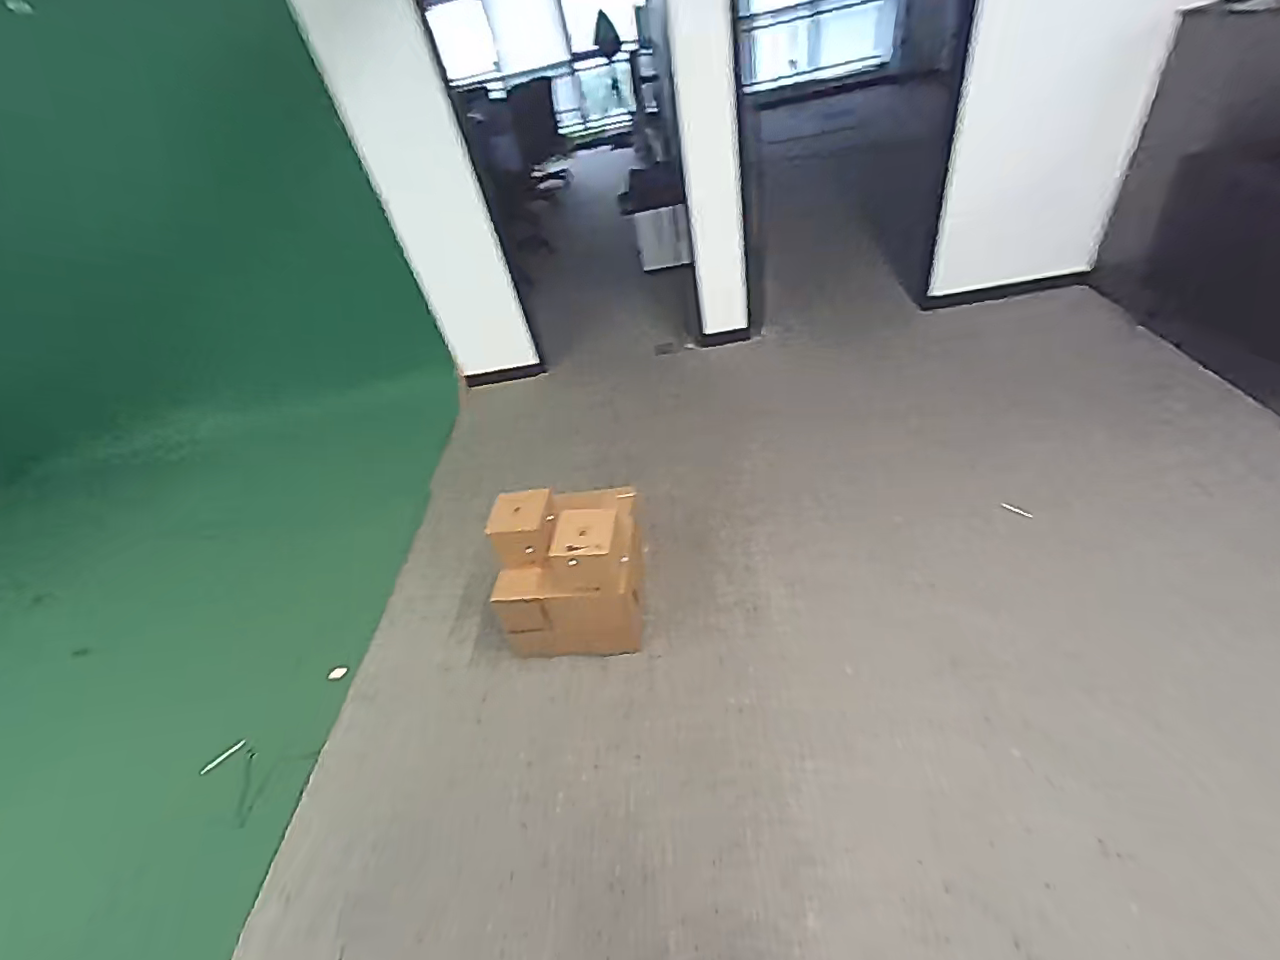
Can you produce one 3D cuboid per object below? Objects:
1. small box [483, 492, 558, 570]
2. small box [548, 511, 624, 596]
[{"bbox_3d":[-0.353,0.163,1.660,0.168,0.176,0.179,-6,39,9],"label":"small box"},{"bbox_3d":[-0.145,0.209,1.538,0.168,0.176,0.179,-4,39,11],"label":"small box"}]
